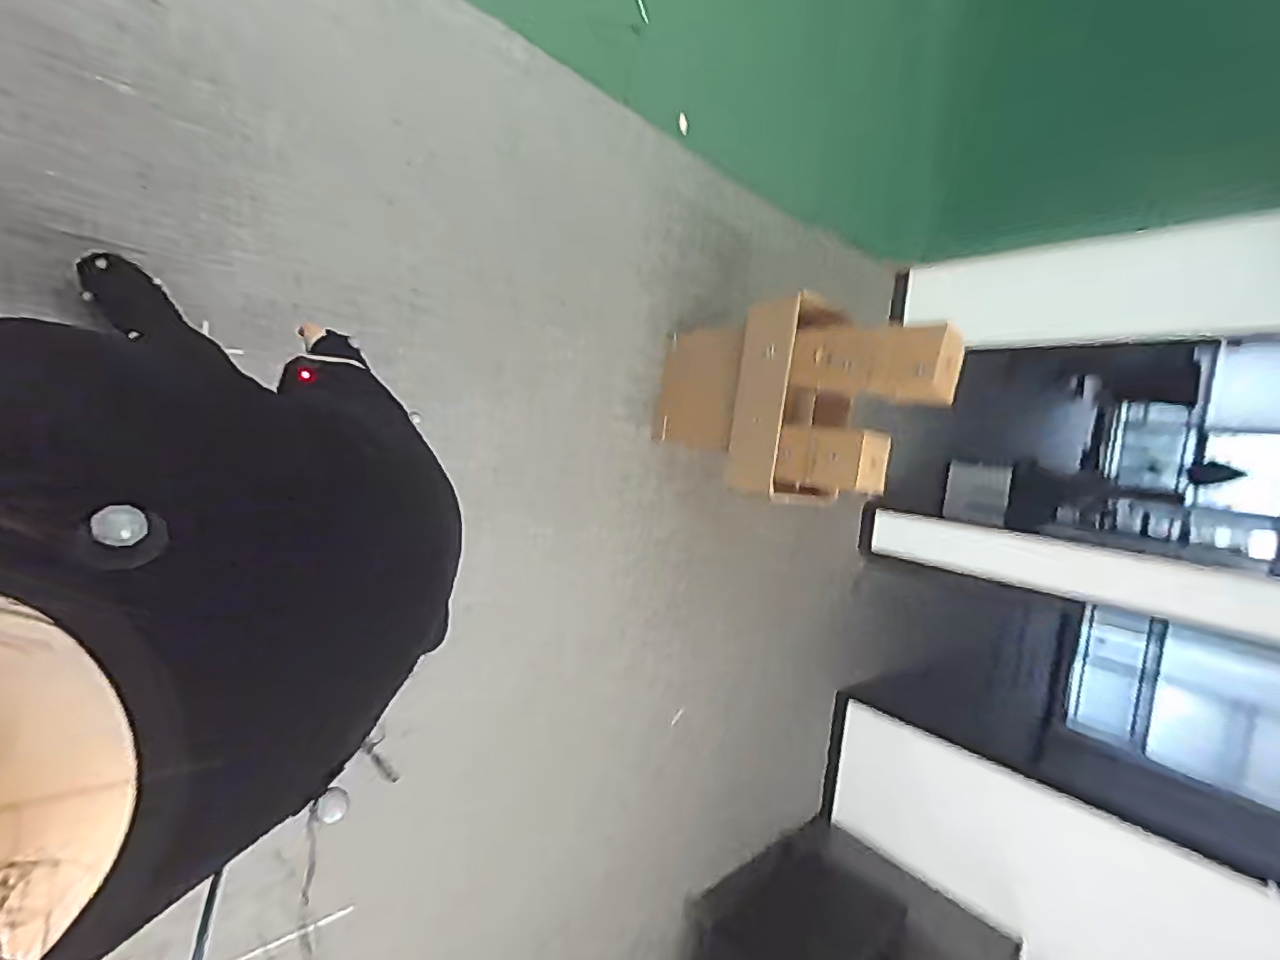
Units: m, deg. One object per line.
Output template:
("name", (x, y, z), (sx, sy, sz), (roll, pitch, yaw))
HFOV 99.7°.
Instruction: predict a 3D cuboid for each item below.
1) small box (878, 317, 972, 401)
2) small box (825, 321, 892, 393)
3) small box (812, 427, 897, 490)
("small box", (0.777, -0.329, 1.481), (0.168, 0.176, 0.179), (15, 90, -42))
("small box", (0.675, -0.358, 1.605), (0.179, 0.176, 0.168), (11, 92, -43))
("small box", (0.640, -0.065, 1.624), (0.179, 0.176, 0.168), (5, 95, -41))
